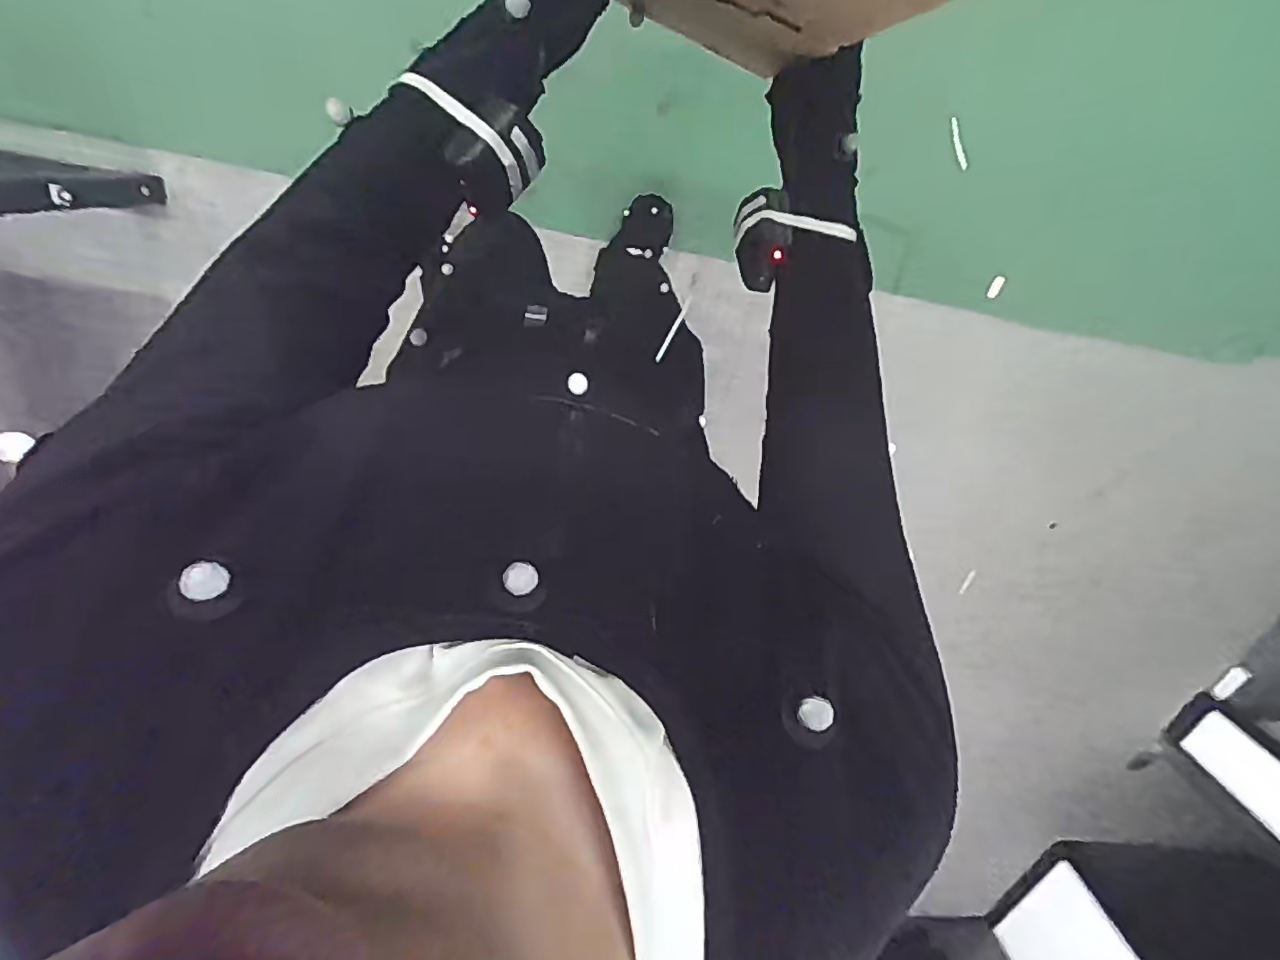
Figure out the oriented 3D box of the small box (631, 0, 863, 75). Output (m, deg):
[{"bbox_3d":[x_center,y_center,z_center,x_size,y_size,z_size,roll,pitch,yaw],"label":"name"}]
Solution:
[{"bbox_3d":[0.087,-0.431,0.390,0.168,0.176,0.179,15,117,-16],"label":"small box"}]
